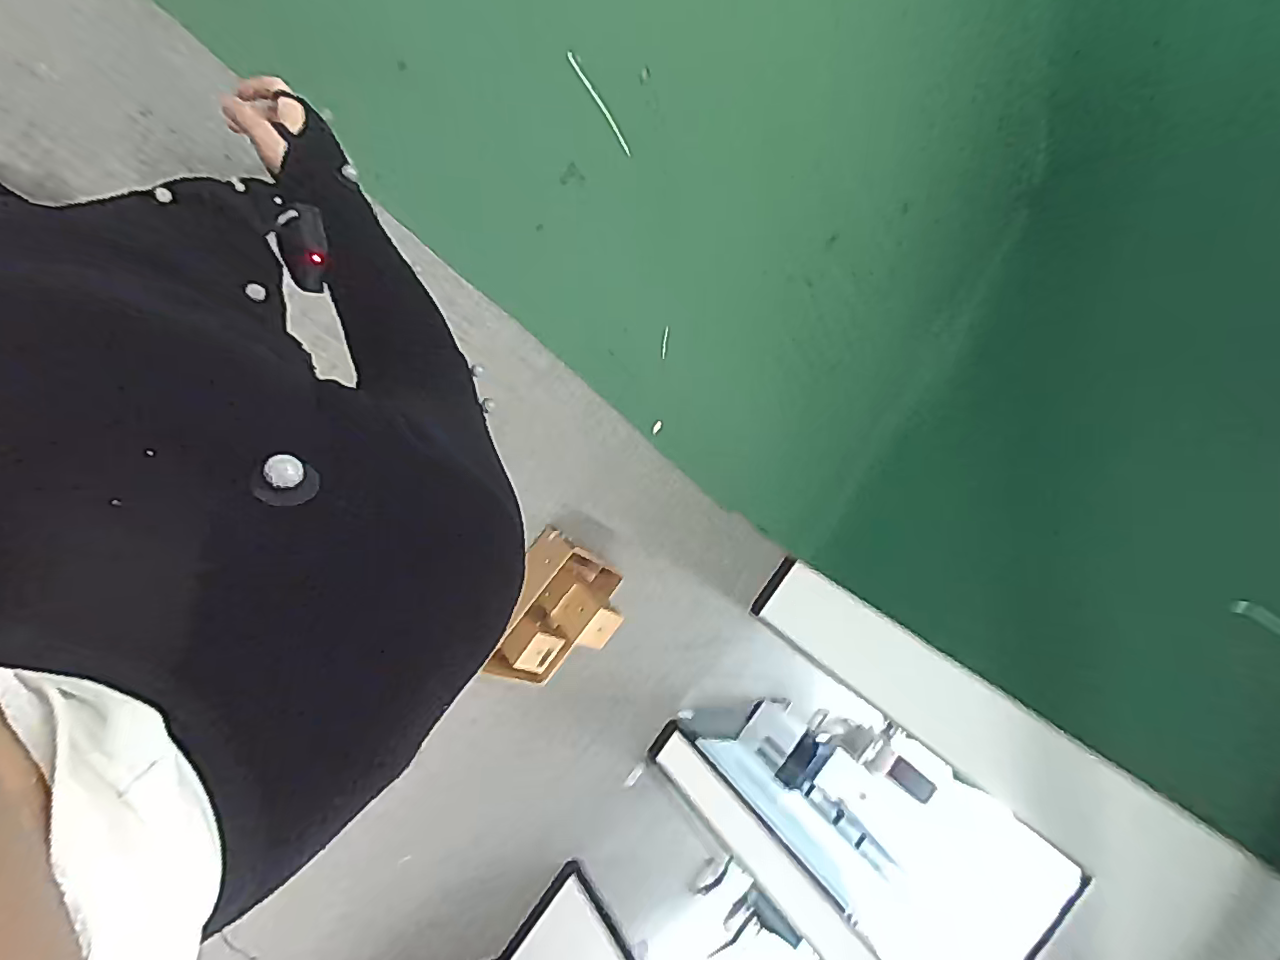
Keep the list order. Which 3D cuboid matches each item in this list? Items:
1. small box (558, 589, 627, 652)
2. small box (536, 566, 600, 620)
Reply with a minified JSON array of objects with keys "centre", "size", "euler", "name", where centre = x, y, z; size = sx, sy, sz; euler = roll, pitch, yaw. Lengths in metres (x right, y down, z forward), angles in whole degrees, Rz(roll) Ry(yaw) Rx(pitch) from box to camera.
[{"centre":[-0.195,0.558,2.156],"size":[0.168,0.176,0.179],"euler":[-54,139,1],"name":"small box"},{"centre":[-0.300,0.482,2.253],"size":[0.168,0.176,0.179],"euler":[-53,139,0],"name":"small box"}]
